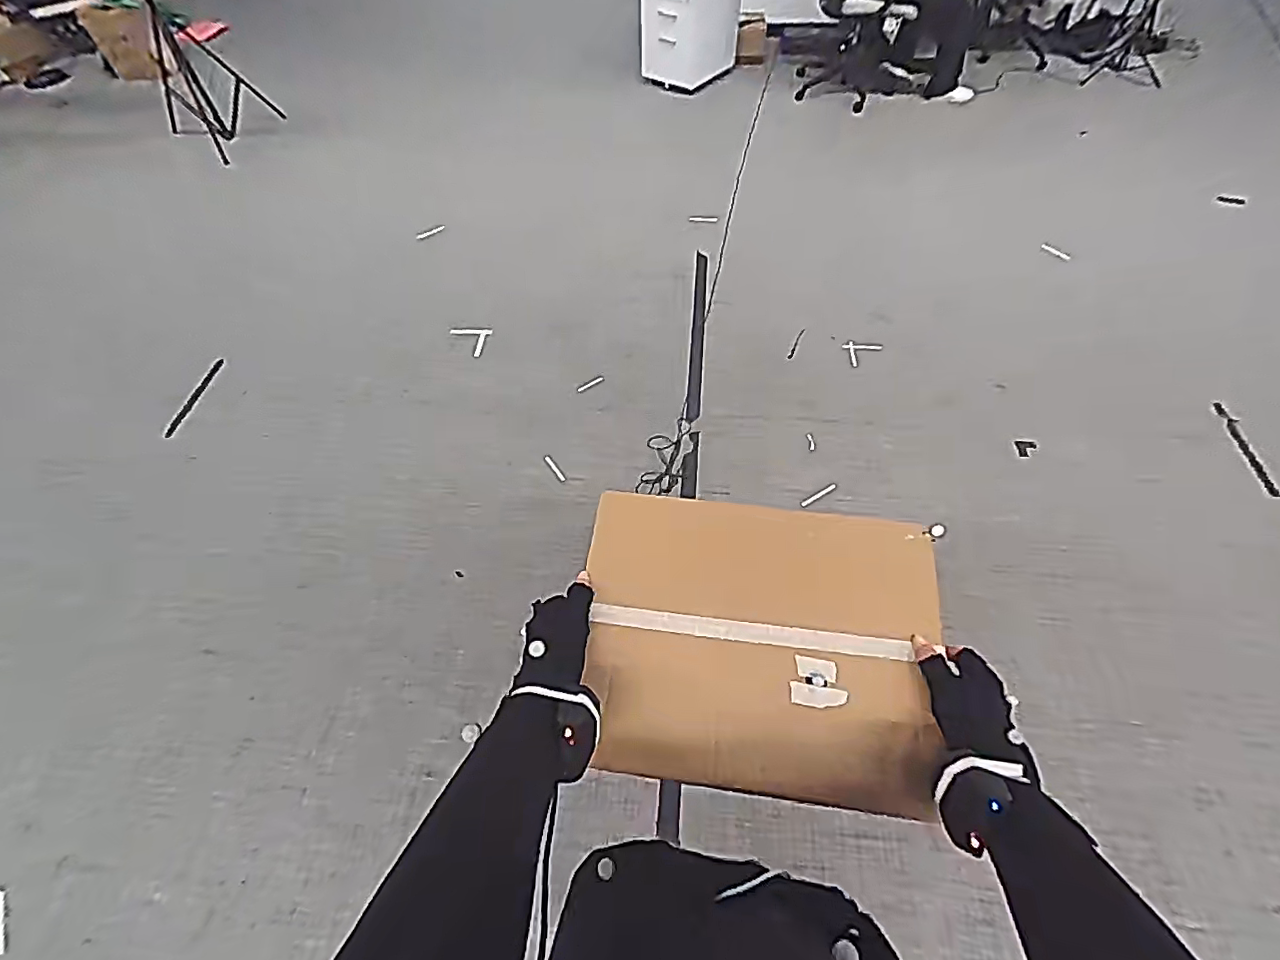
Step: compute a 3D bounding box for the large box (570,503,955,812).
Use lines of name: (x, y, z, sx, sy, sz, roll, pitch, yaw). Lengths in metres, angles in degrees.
large box: (0.142, 0.249, 0.755, 0.408, 0.320, 0.320, 6, 64, 6)
